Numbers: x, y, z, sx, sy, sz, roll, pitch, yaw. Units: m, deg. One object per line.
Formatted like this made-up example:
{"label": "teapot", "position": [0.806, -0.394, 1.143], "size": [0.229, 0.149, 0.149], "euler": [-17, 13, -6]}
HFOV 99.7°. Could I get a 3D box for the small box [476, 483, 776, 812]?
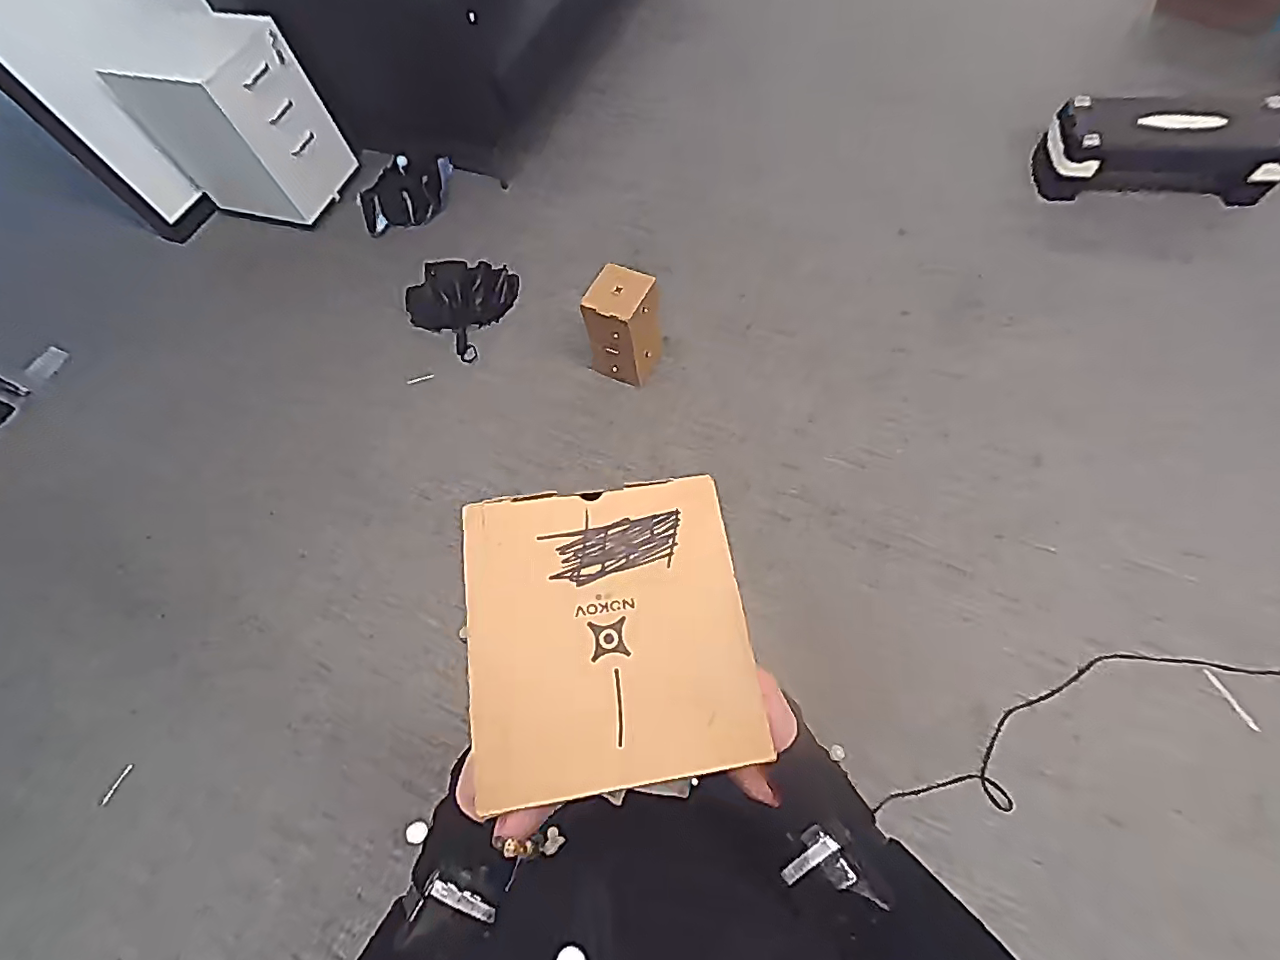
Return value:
{"label": "small box", "position": [-0.021, 0.120, 0.399], "size": [0.168, 0.176, 0.179], "euler": [-7, 68, -7]}
